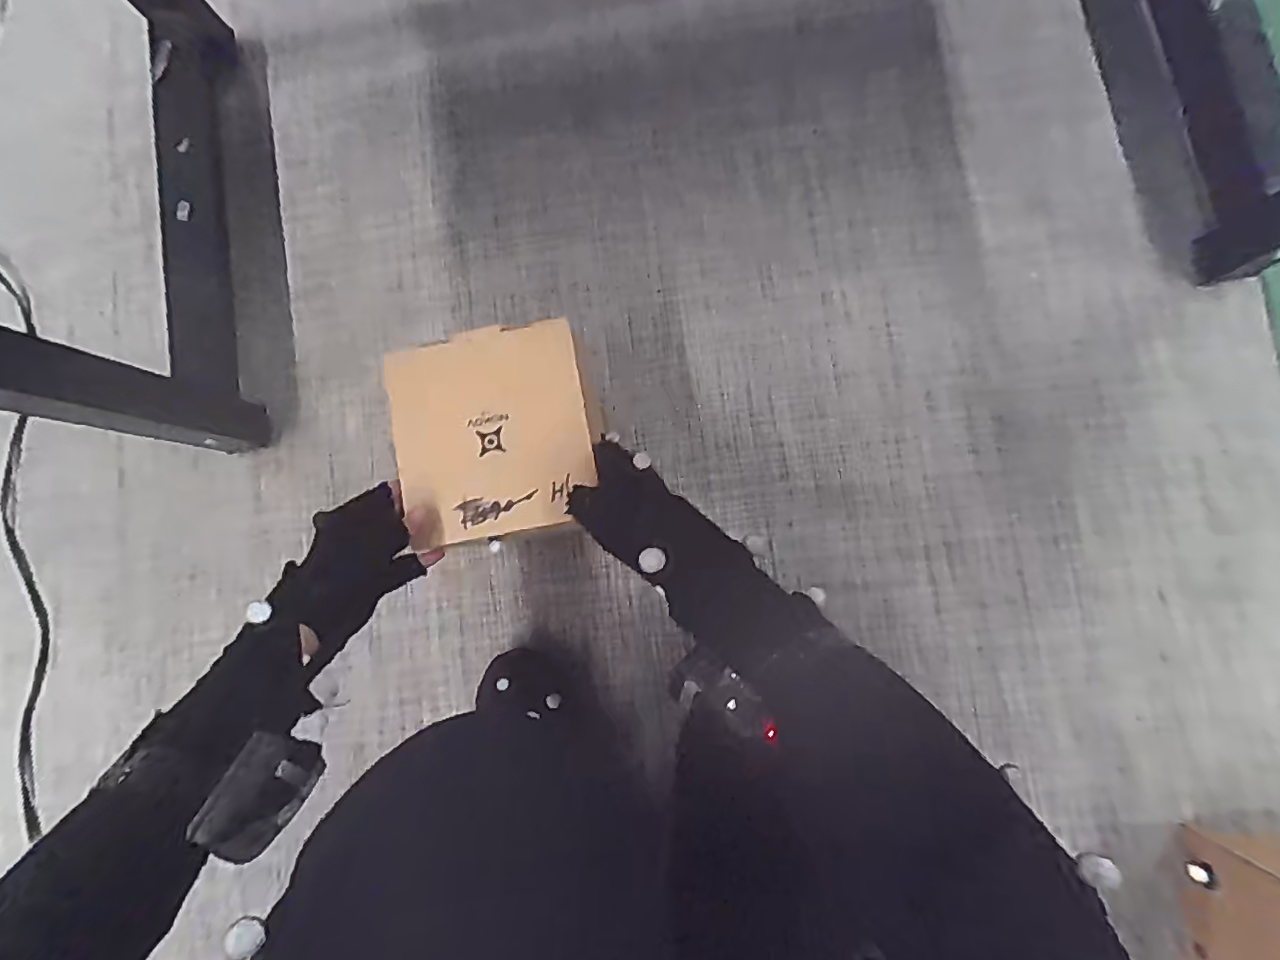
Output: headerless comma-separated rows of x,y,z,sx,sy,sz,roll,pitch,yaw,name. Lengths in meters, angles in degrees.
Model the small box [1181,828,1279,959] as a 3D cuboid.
0.602,0.418,0.443,0.179,0.176,0.168,3,84,4,small box
